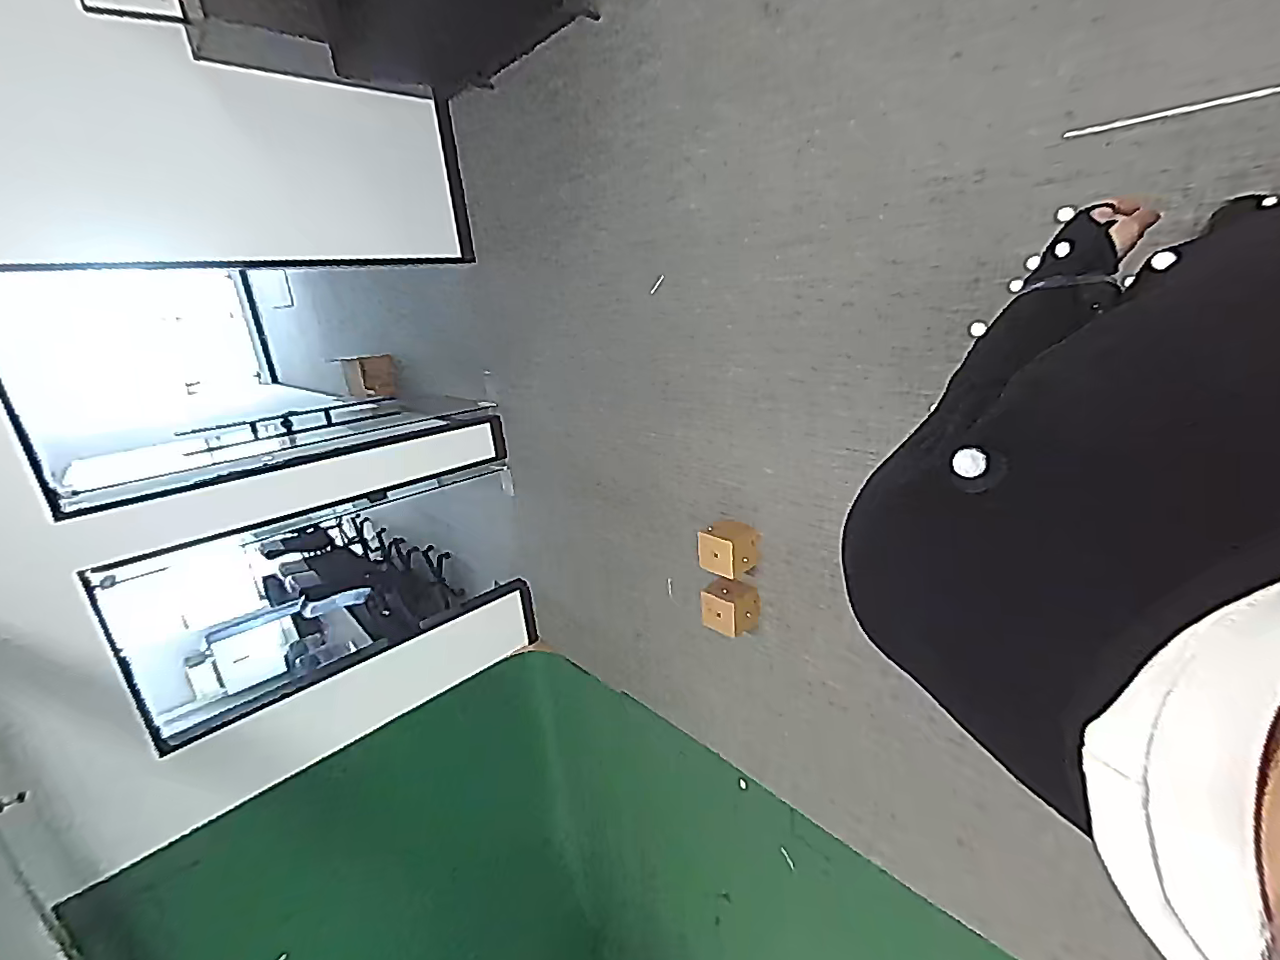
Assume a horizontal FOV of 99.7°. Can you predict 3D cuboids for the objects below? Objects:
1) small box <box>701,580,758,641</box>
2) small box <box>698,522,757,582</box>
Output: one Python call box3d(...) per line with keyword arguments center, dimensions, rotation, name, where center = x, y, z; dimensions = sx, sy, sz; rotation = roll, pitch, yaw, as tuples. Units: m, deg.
box3d(center=(0.379, 0.539, 2.268), dimensions=(0.179, 0.176, 0.168), rotation=(15, 116, 45), name="small box")
box3d(center=(0.359, 0.284, 2.190), dimensions=(0.179, 0.176, 0.168), rotation=(15, 116, 45), name="small box")
